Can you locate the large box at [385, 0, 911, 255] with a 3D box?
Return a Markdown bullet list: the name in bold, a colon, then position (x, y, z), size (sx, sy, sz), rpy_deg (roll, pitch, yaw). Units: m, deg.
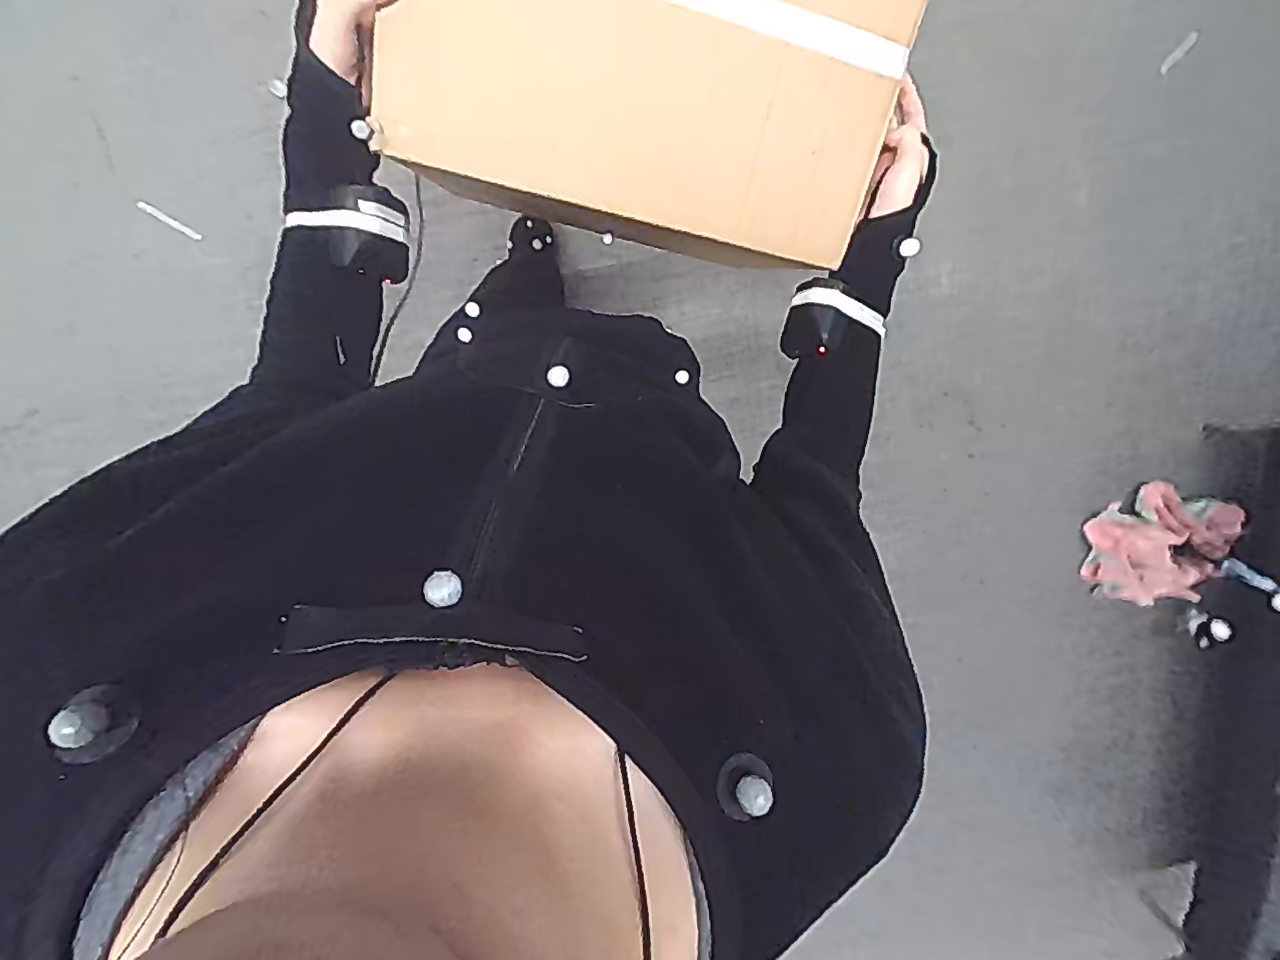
- **large box**: position (0.002, -0.431, 0.553), size (0.408, 0.320, 0.320), rpy_deg (9, 110, -10)
